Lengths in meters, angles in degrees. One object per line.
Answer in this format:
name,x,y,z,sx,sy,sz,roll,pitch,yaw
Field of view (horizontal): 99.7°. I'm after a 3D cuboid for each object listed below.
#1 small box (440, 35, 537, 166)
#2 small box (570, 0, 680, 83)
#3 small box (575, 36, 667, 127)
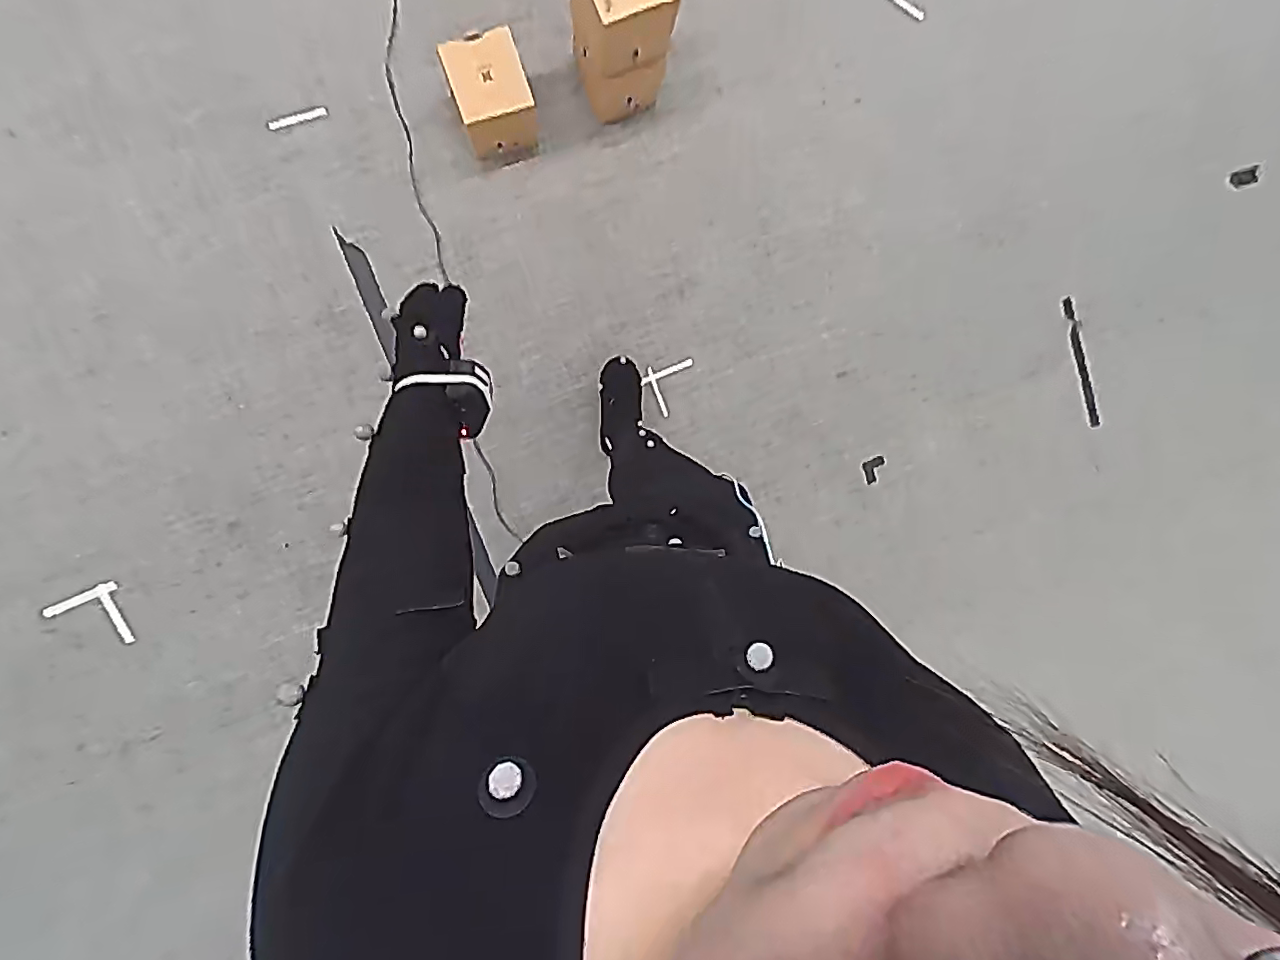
small box,-0.351,-0.890,1.282,0.168,0.176,0.179,-19,97,-5
small box,-0.039,-0.997,1.148,0.179,0.176,0.168,-24,97,-6
small box,-0.054,-1.009,1.312,0.168,0.176,0.179,-23,97,-5
